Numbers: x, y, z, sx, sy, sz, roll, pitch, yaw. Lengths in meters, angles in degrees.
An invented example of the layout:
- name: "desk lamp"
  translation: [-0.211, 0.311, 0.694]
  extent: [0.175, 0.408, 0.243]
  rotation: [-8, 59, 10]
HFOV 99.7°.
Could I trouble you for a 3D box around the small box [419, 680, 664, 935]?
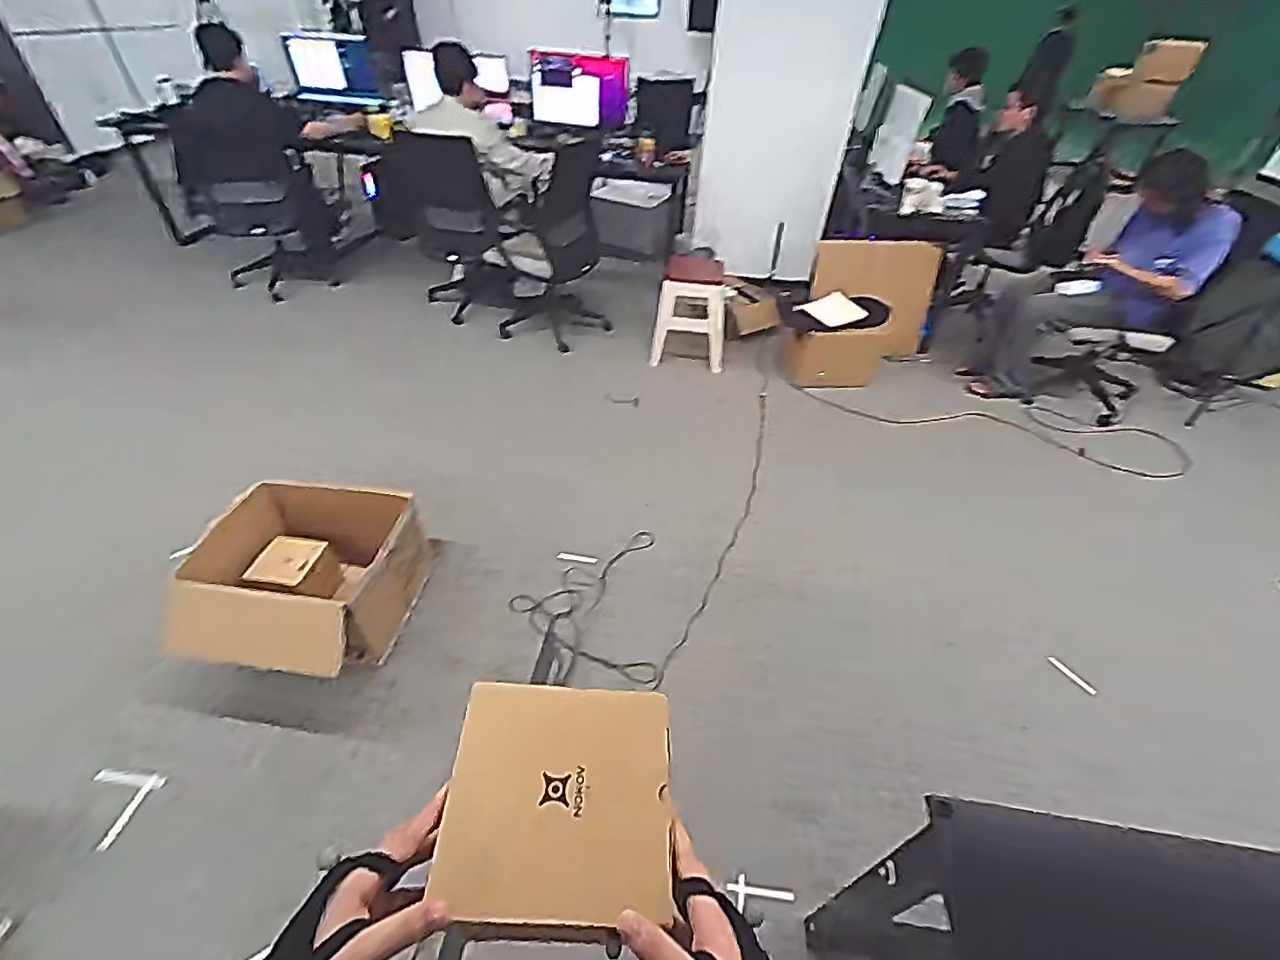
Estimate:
- name: "small box"
  translation: [-0.075, 0.299, 0.490]
  extent: [0.179, 0.176, 0.168]
  rotation: [5, 46, -4]
